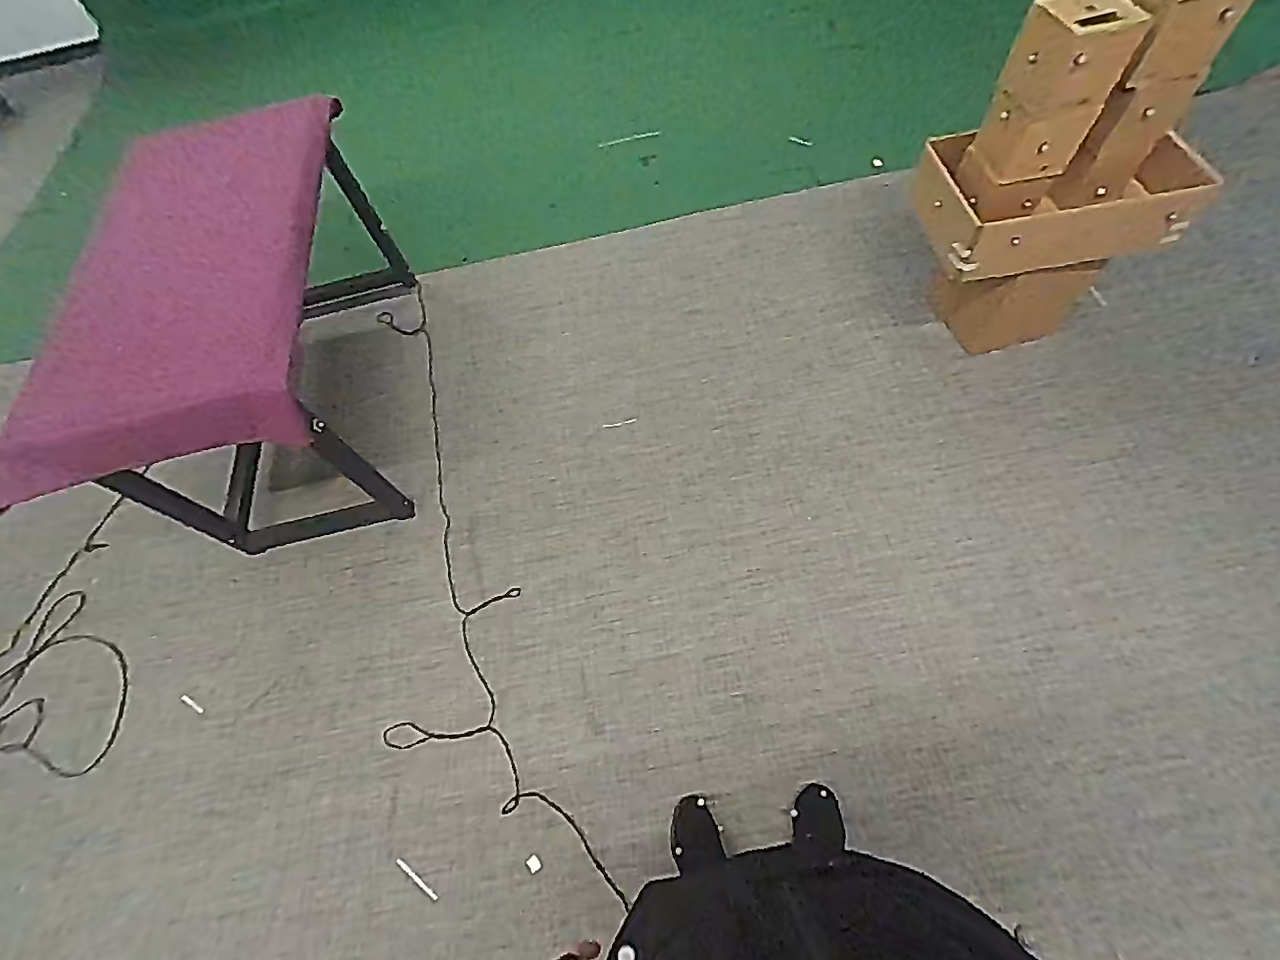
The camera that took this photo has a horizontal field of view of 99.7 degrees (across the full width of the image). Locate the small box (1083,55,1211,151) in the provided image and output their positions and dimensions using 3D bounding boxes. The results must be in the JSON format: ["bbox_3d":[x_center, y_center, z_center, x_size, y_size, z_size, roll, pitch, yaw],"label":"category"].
[{"bbox_3d":[1.244,-0.972,1.368,0.179,0.176,0.168,-16,62,2],"label":"small box"}]

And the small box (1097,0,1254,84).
[{"bbox_3d":[1.205,-1.043,1.223,0.179,0.176,0.168,-9,61,5],"label":"small box"}]

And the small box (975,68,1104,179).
[{"bbox_3d":[0.993,-0.888,1.362,0.168,0.176,0.179,-11,61,1],"label":"small box"}]
